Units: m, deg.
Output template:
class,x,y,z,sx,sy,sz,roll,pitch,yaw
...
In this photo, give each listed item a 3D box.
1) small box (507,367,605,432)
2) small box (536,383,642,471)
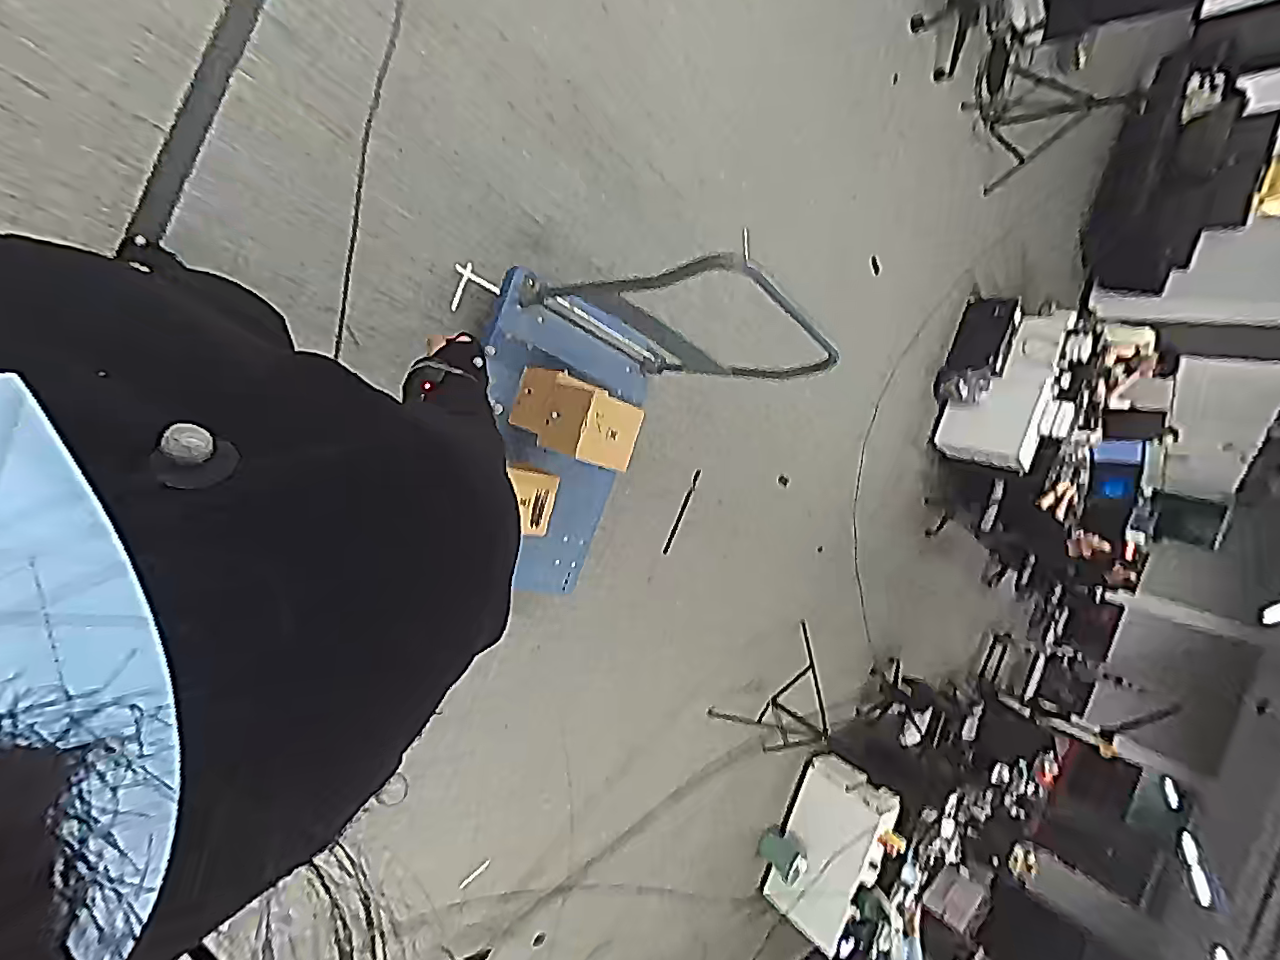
class,x,y,z,sx,sy,sz,roll,pitch,yaw
small box,-0.231,-0.202,1.480,0.179,0.176,0.168,16,94,-45
small box,-0.130,-0.136,1.365,0.179,0.176,0.168,16,93,-45
